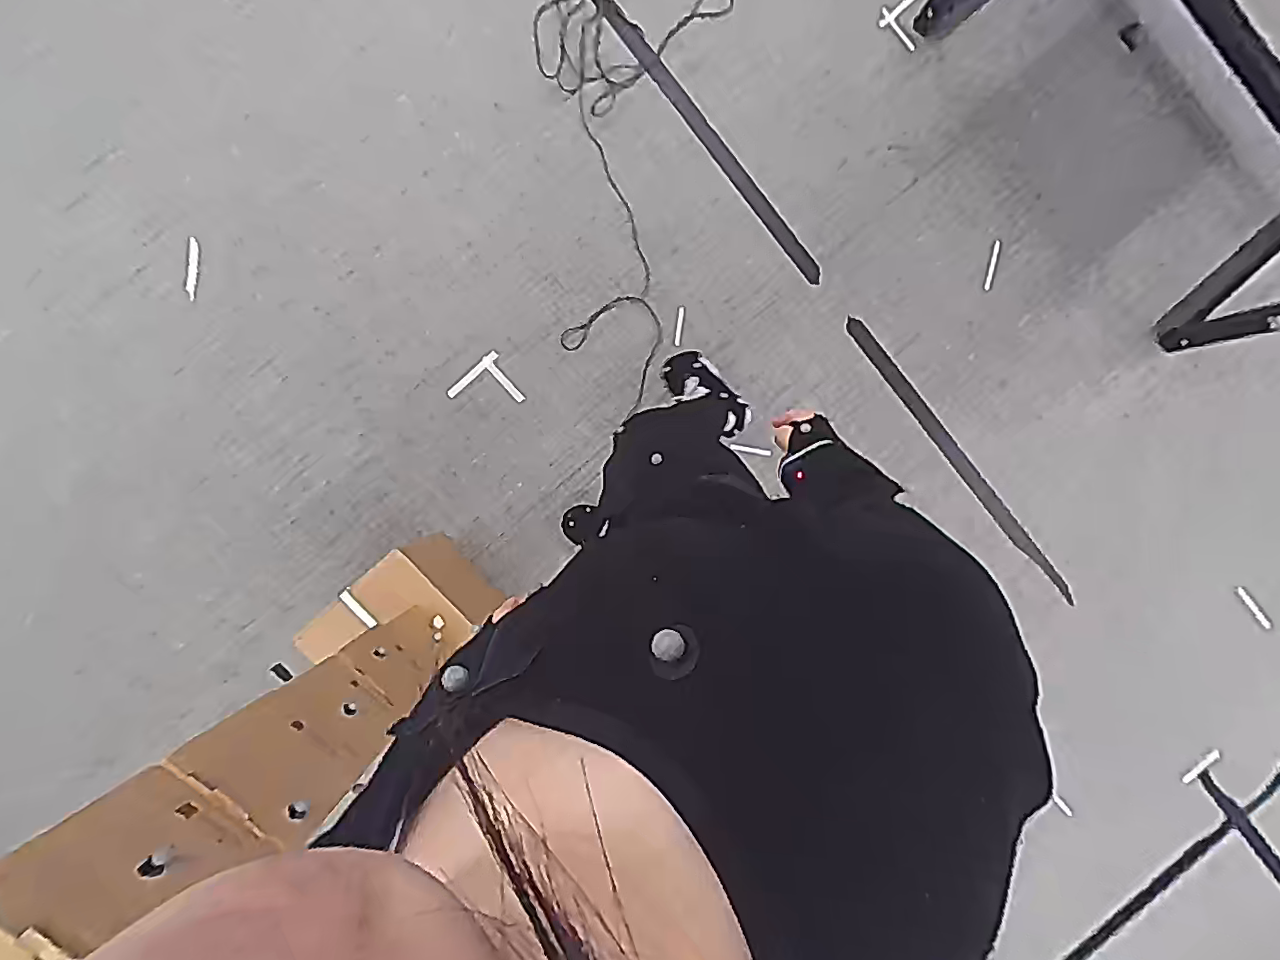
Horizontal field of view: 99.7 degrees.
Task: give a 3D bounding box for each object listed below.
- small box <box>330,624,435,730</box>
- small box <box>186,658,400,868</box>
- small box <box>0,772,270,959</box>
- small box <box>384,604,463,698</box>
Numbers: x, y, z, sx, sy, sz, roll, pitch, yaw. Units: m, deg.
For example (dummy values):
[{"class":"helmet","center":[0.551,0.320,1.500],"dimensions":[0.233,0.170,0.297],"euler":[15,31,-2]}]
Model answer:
[{"class":"small box","center":[-0.490,0.384,0.954],"dimensions":[0.179,0.176,0.168],"euler":[-45,92,0]},{"class":"small box","center":[-0.482,0.394,0.789],"dimensions":[0.168,0.176,0.179],"euler":[41,89,-1]},{"class":"small box","center":[-0.466,0.398,0.461],"dimensions":[0.168,0.176,0.179],"euler":[38,88,-2]},{"class":"small box","center":[-0.497,0.387,1.115],"dimensions":[0.179,0.176,0.168],"euler":[-43,93,-1]}]
